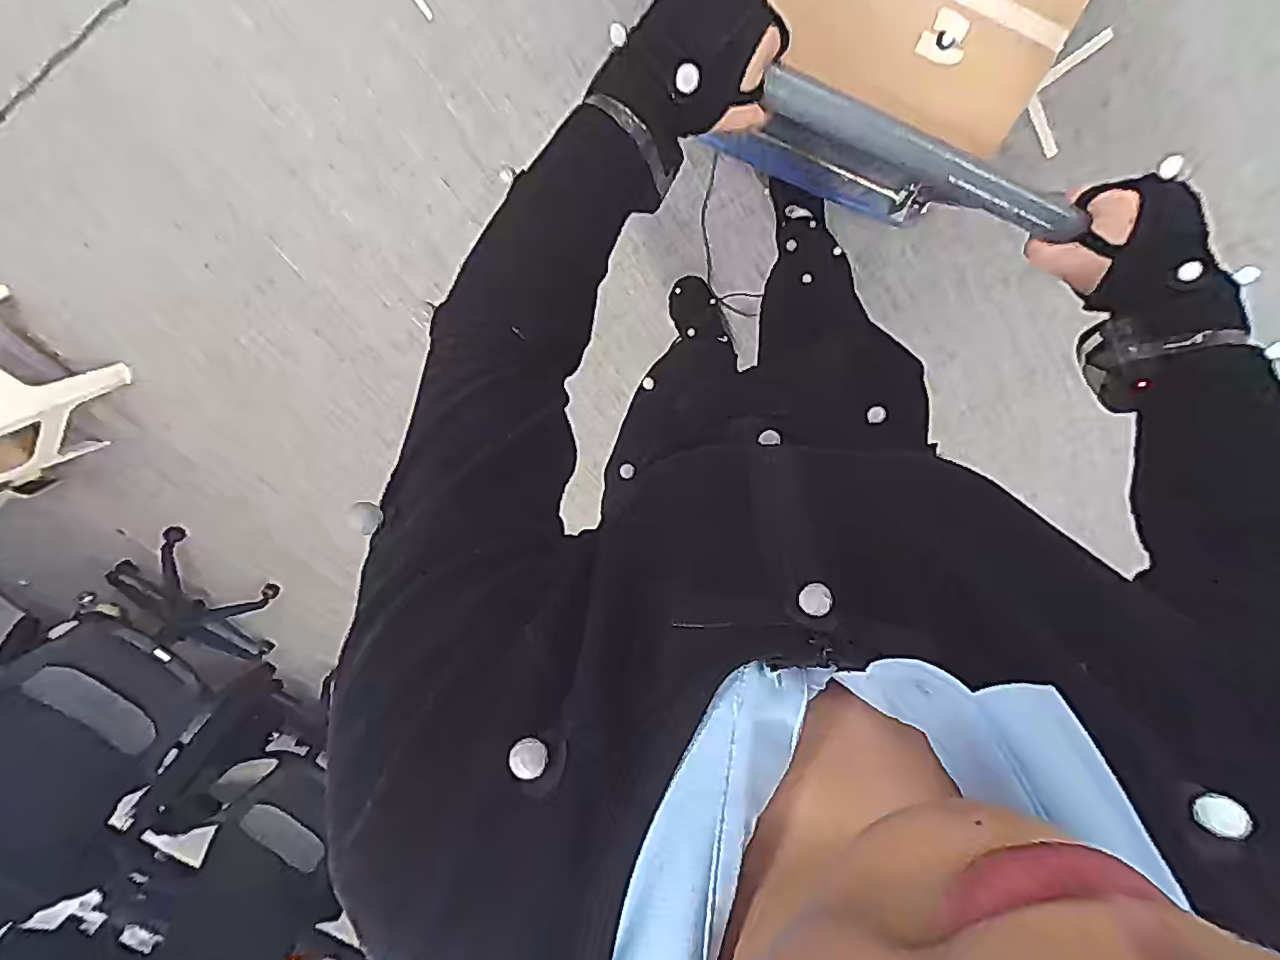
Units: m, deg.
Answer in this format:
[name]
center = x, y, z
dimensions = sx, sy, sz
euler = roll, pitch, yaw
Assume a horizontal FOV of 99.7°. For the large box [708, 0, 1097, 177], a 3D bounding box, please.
[large box]
center = 0.339, -0.667, 0.752
dimensions = 0.408, 0.320, 0.320
euler = 20, 122, -7
